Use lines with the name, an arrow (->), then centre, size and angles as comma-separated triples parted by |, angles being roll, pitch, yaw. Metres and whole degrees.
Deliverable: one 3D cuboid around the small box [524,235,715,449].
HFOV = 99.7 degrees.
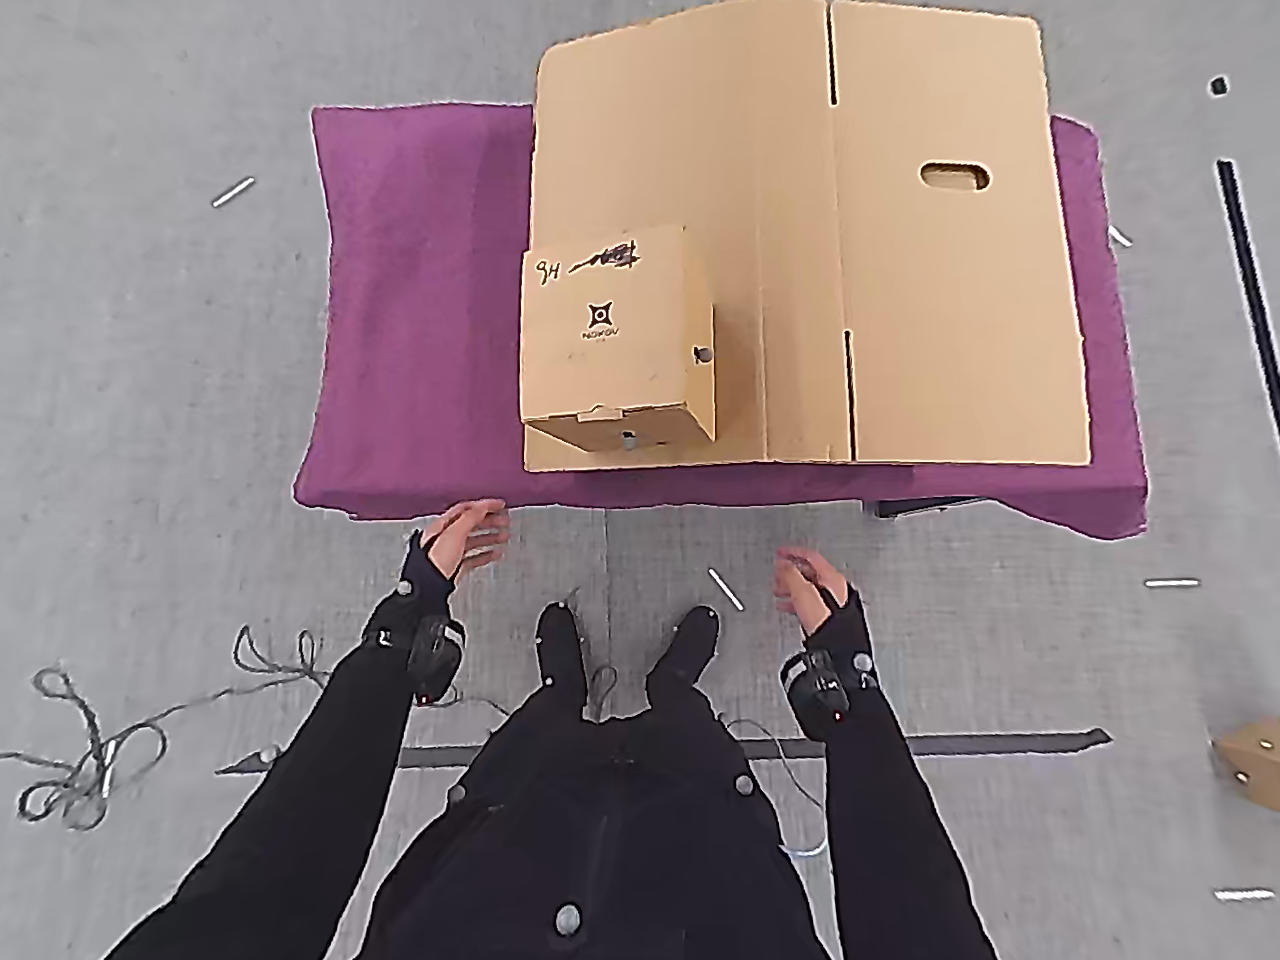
small box -> -0.011, -0.131, 0.590 | 0.168, 0.176, 0.179 | -2, 83, 16
